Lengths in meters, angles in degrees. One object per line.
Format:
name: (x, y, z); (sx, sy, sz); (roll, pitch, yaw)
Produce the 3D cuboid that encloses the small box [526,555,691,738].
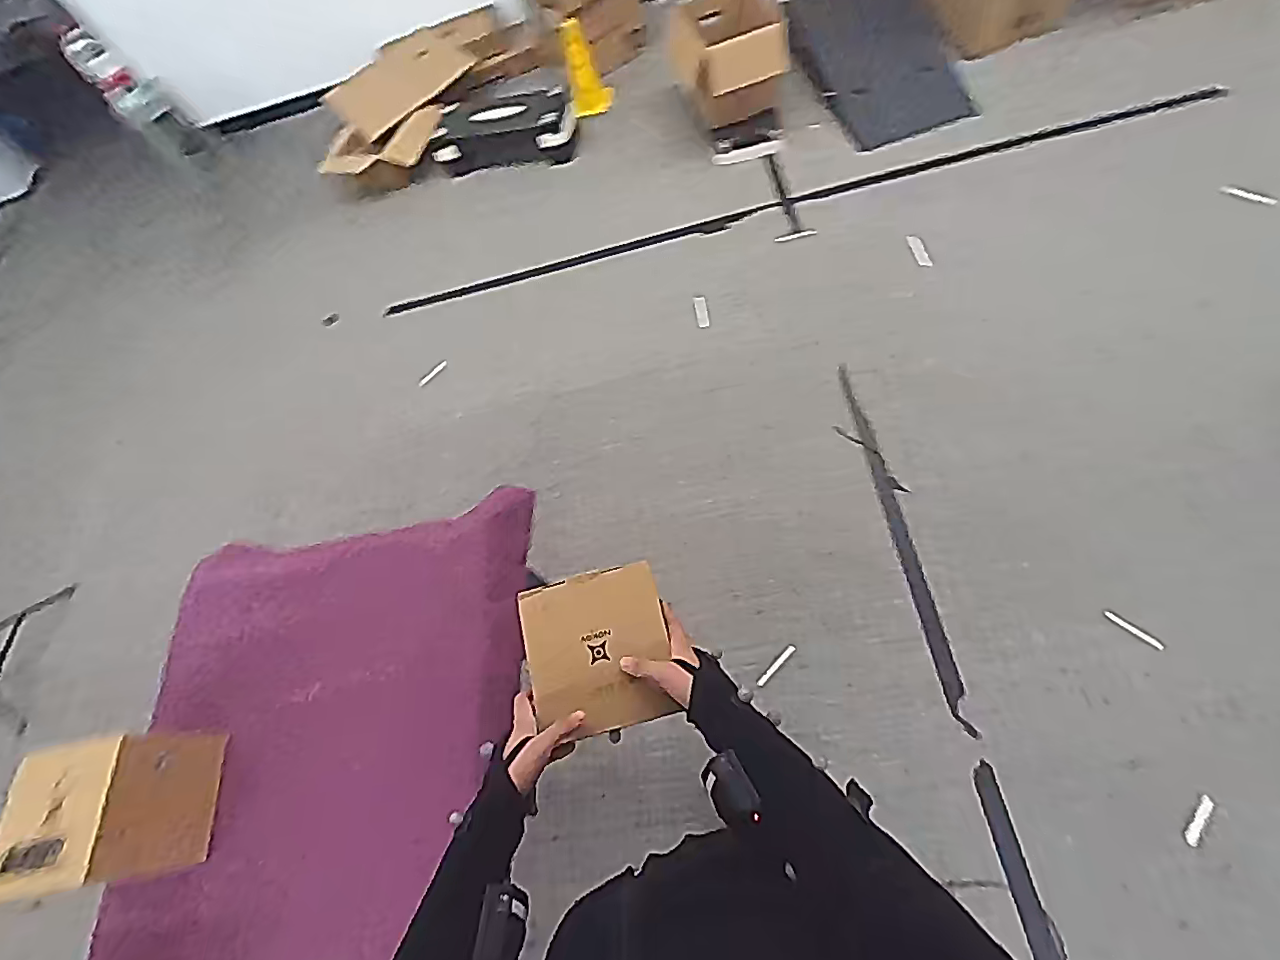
small box: (-0.036, 0.215, 0.692); (0.168, 0.176, 0.179); (-14, 69, -1)
